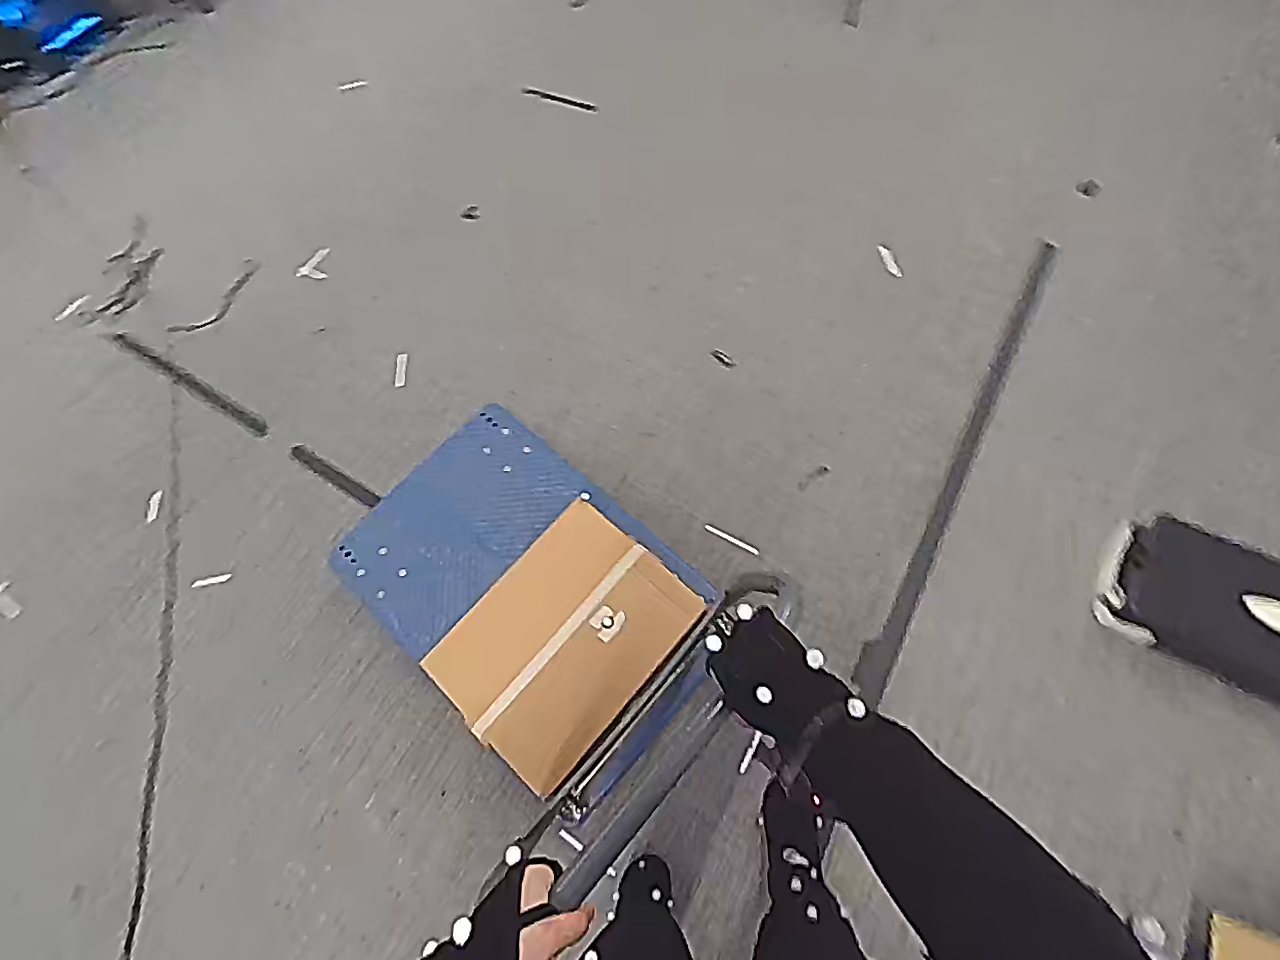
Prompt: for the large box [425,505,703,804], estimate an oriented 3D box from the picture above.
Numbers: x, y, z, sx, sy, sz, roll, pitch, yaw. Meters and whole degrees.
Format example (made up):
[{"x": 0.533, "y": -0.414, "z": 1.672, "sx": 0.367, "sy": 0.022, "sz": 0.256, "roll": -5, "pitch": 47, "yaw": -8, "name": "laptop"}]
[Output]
[{"x": -0.119, "y": 0.332, "z": 1.062, "sx": 0.320, "sy": 0.320, "sz": 0.408, "roll": 39, "pitch": 76, "yaw": 17, "name": "large box"}]
